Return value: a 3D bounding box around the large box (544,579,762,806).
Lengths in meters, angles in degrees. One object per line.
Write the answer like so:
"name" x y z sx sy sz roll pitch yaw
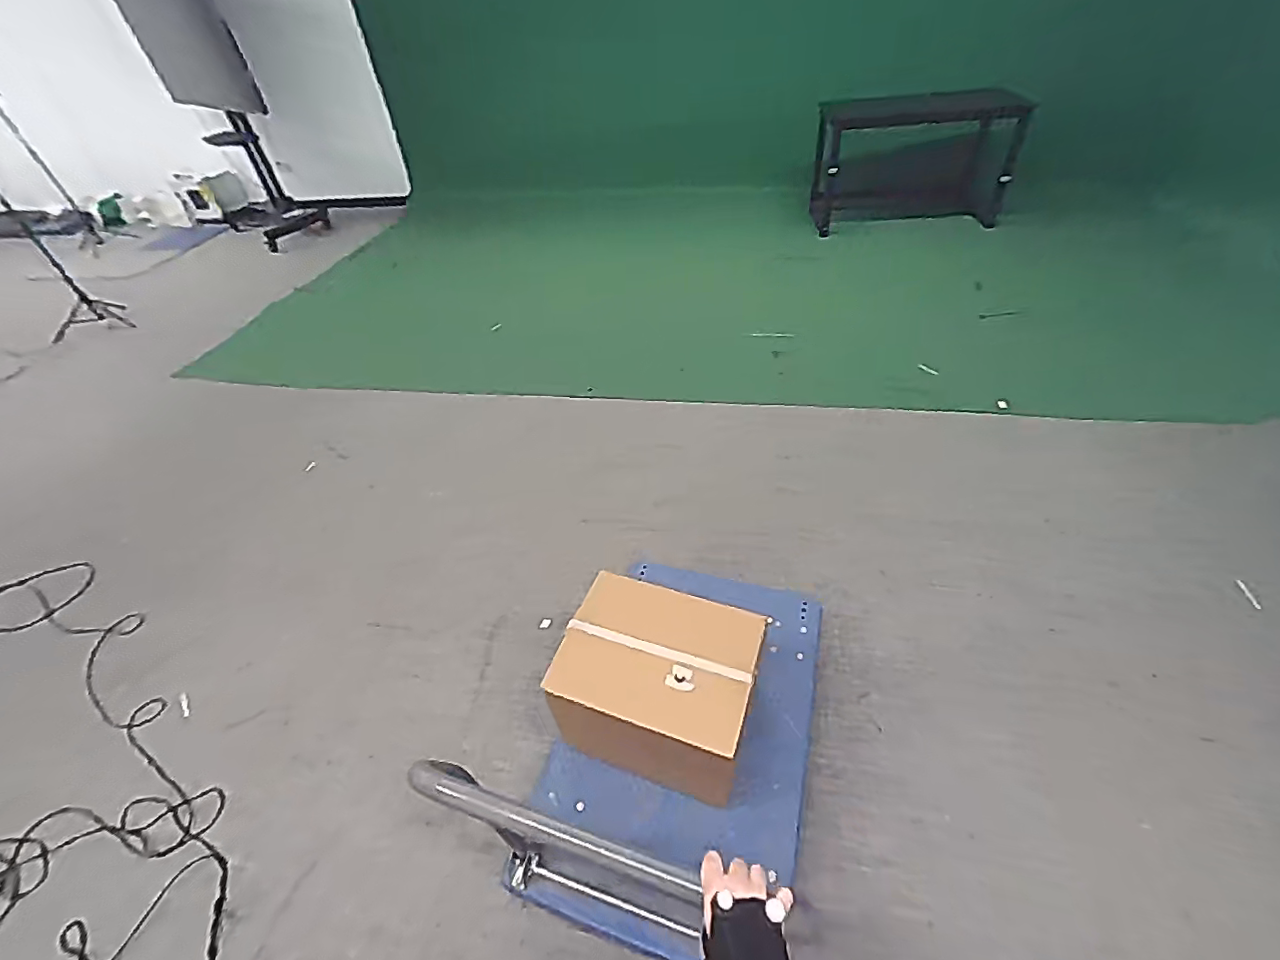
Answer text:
"large box" 0.041 0.484 1.257 0.408 0.320 0.320 13 46 17
